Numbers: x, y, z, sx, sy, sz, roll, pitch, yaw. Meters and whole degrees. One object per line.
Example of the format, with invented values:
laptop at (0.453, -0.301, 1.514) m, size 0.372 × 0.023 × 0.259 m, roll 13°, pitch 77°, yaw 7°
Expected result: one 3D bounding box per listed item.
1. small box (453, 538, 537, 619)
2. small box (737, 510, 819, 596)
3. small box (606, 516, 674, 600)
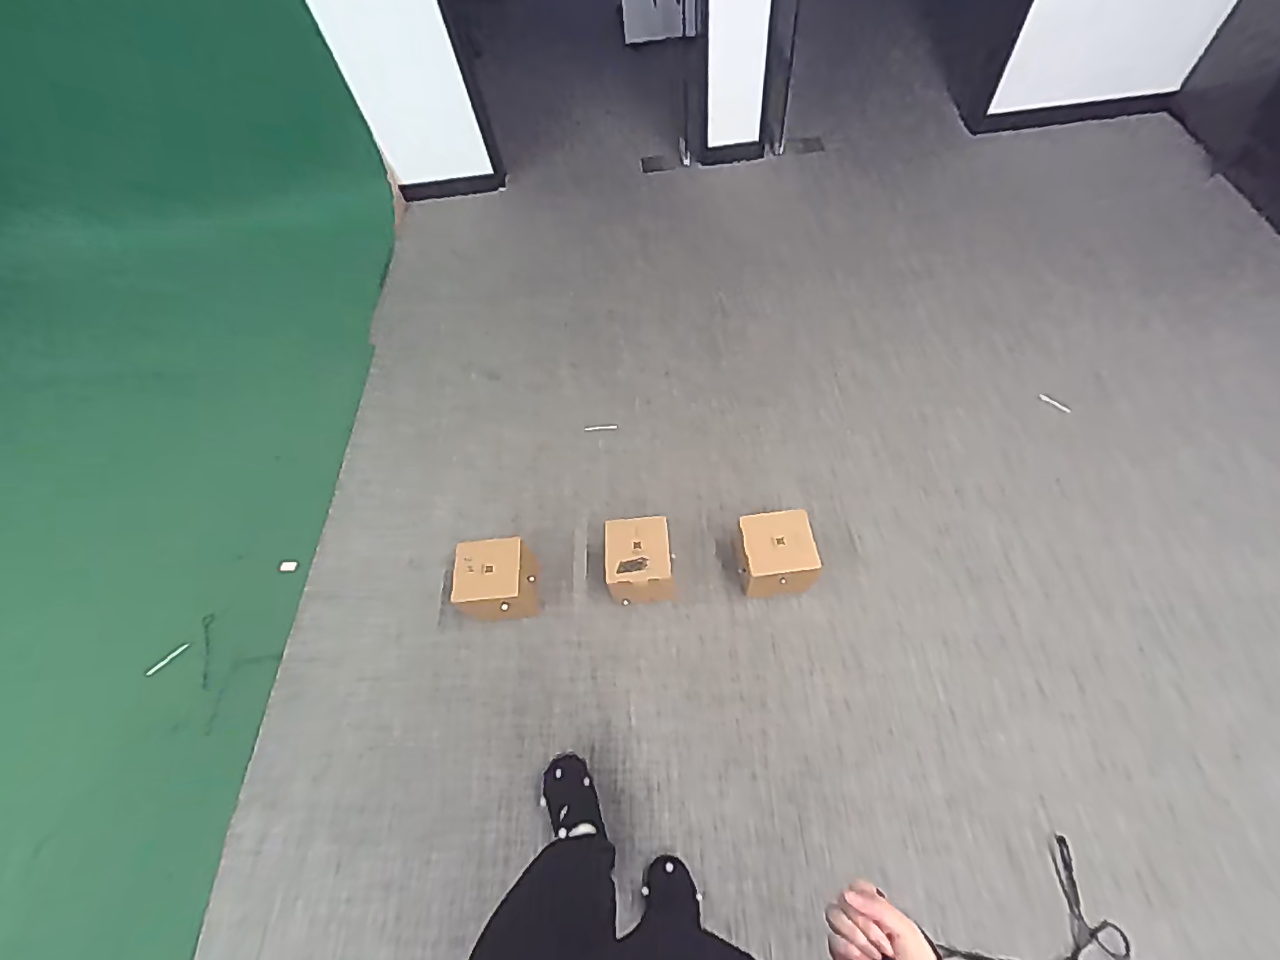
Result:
small box at (-0.383, 0.270, 1.469) m, size 0.179 × 0.176 × 0.168 m, roll -6°, pitch 59°, yaw 3°
small box at (0.354, 0.198, 1.425) m, size 0.179 × 0.176 × 0.168 m, roll -7°, pitch 60°, yaw 2°
small box at (0.002, 0.217, 1.455) m, size 0.168 × 0.176 × 0.179 m, roll -5°, pitch 59°, yaw 4°
